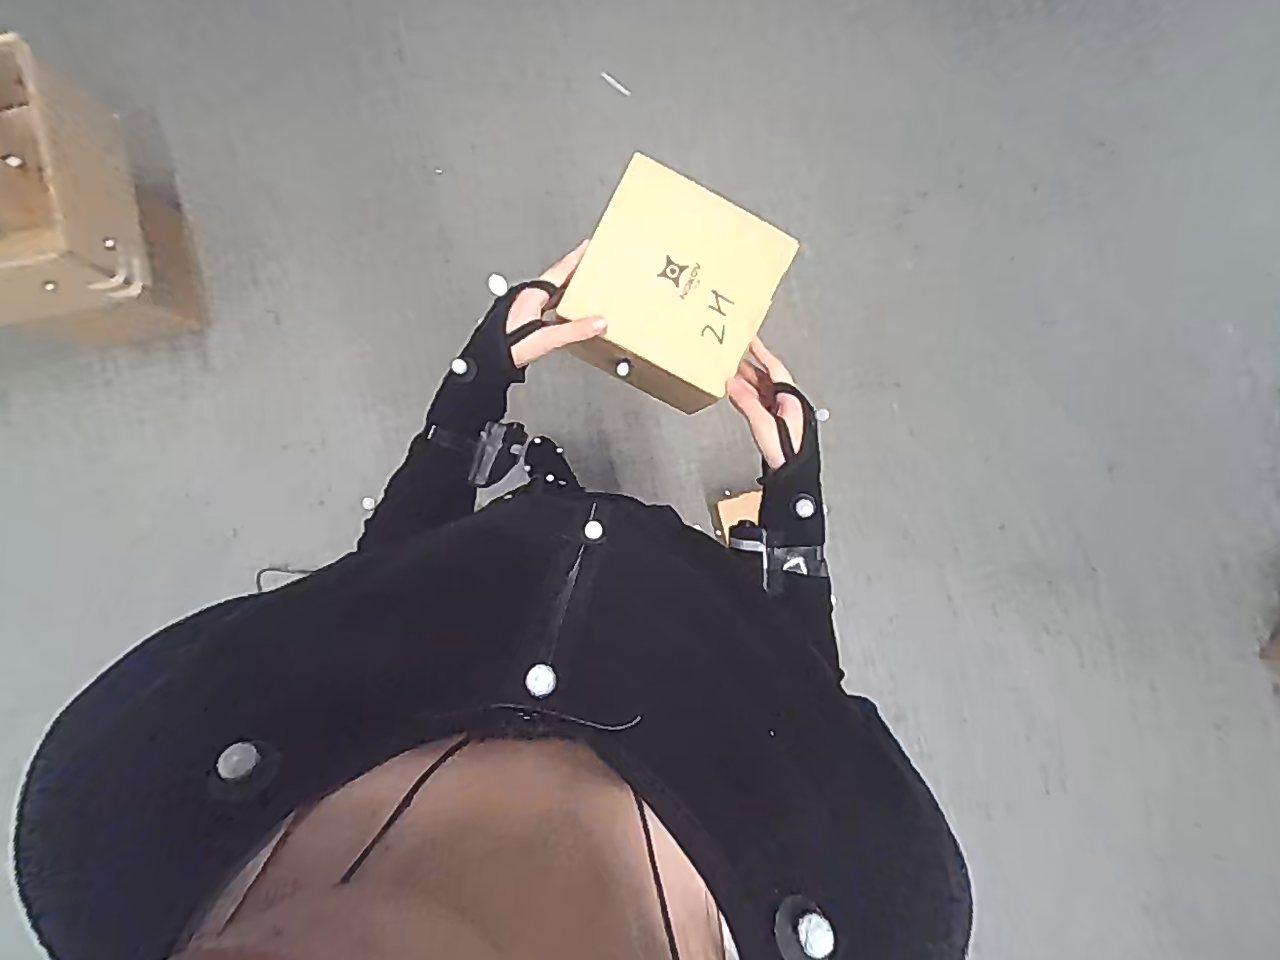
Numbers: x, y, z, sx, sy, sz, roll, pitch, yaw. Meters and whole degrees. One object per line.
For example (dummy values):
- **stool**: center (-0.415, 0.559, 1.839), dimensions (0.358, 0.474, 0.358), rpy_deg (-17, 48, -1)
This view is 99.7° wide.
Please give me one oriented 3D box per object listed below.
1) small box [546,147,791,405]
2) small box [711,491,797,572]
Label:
- **small box**: center (0.021, -0.191, 0.569), dimensions (0.179, 0.176, 0.168), rpy_deg (27, 89, -5)
- **small box**: center (0.296, 0.133, 1.439), dimensions (0.168, 0.176, 0.179), rpy_deg (-14, 89, -2)
